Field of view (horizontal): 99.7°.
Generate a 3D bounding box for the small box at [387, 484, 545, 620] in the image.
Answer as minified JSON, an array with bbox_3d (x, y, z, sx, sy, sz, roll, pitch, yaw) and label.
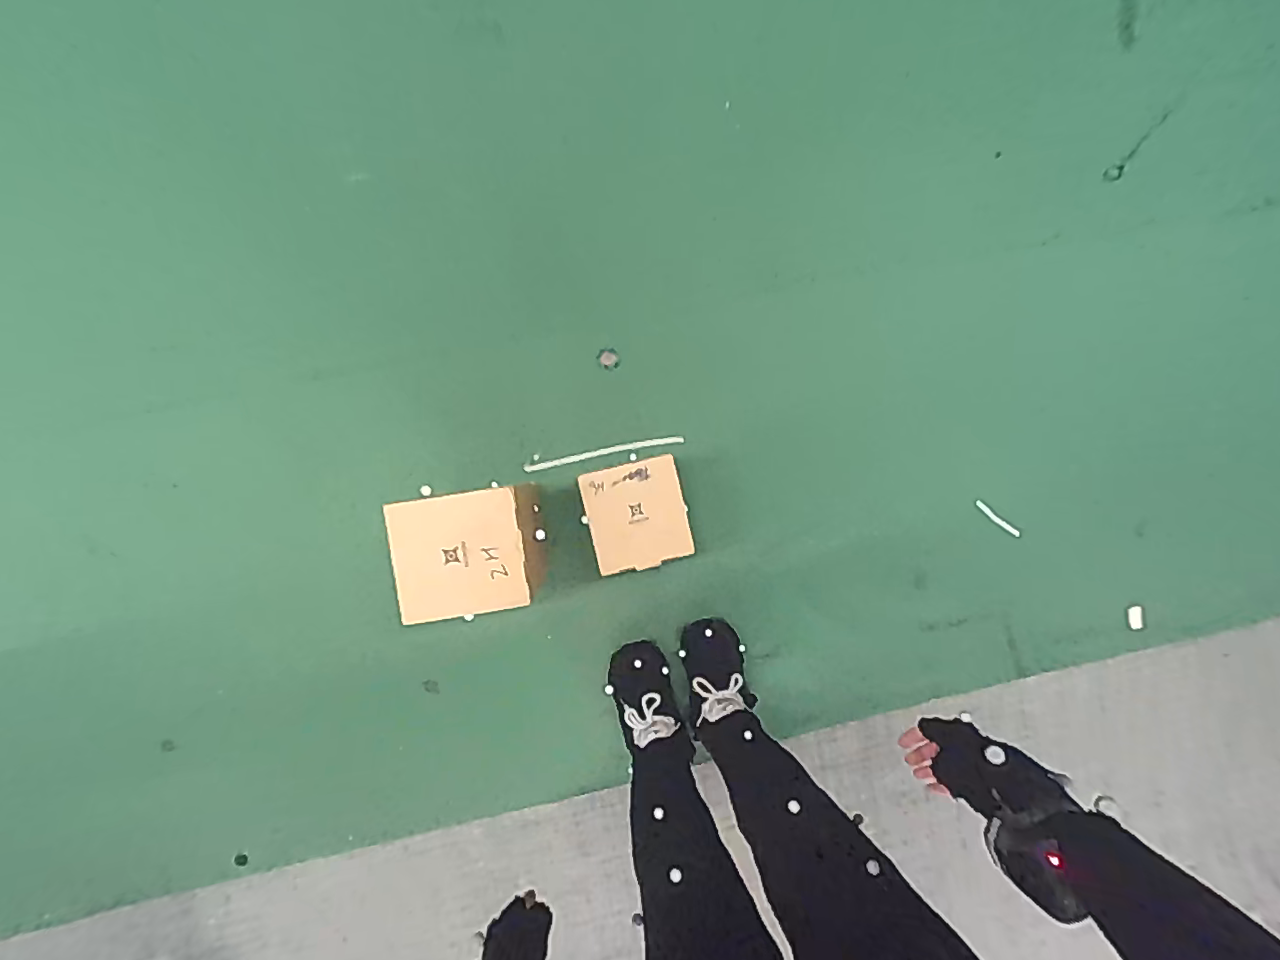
[{"bbox_3d":[-0.248,0.098,0.811,0.179,0.176,0.168,-8,92,-3],"label":"small box"}]
